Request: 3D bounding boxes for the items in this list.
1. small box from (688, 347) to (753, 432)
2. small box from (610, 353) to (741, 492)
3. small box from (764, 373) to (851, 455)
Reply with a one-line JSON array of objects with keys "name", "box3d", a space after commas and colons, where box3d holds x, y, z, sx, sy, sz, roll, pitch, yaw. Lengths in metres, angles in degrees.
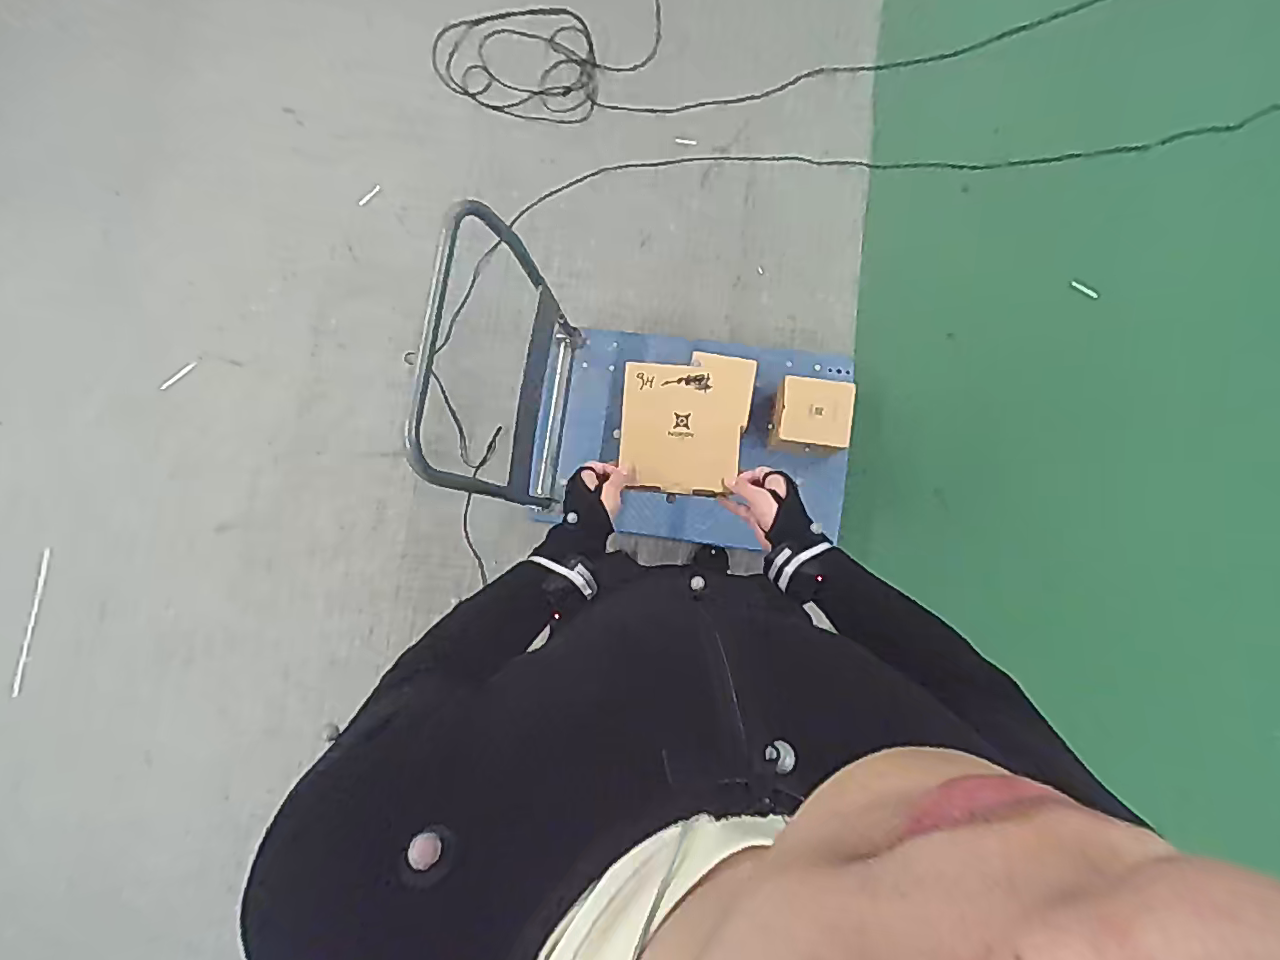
[{"name": "small box", "box3d": [0.192, -0.228, 1.429, 0.168, 0.176, 0.179, 11, 84, 5]}, {"name": "small box", "box3d": [0.048, -0.076, 0.813, 0.168, 0.176, 0.179, 6, 87, -1]}, {"name": "small box", "box3d": [0.429, -0.166, 1.410, 0.179, 0.176, 0.168, 9, 85, 4]}]
